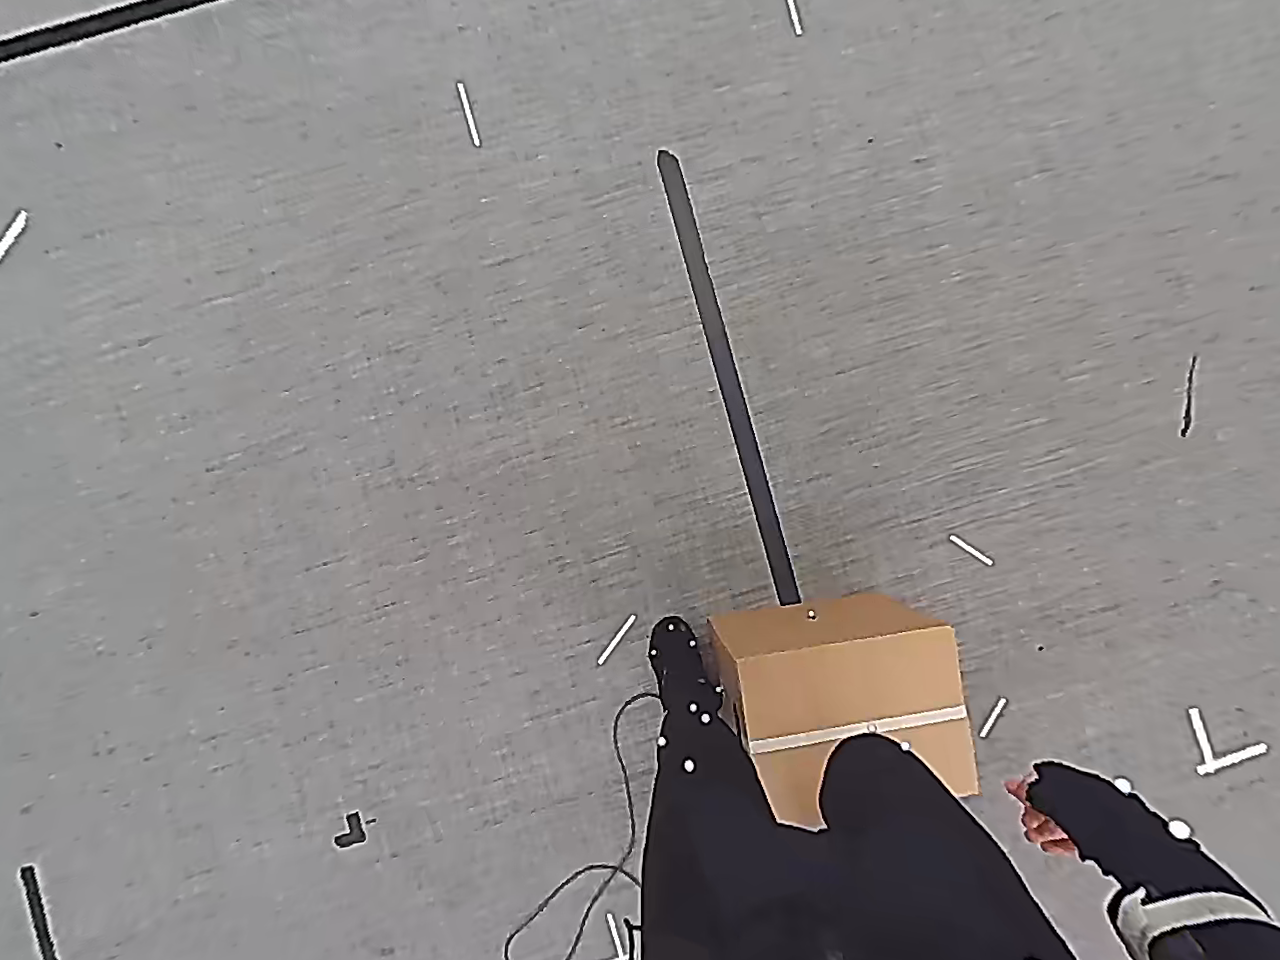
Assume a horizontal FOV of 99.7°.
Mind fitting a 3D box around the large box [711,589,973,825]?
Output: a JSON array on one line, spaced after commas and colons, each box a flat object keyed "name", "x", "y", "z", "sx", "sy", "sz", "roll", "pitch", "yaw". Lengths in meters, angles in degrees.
[{"name": "large box", "x": 0.389, "y": 0.439, "z": 1.128, "sx": 0.408, "sy": 0.320, "sz": 0.320, "roll": -9, "pitch": 90, "yaw": -2}]
